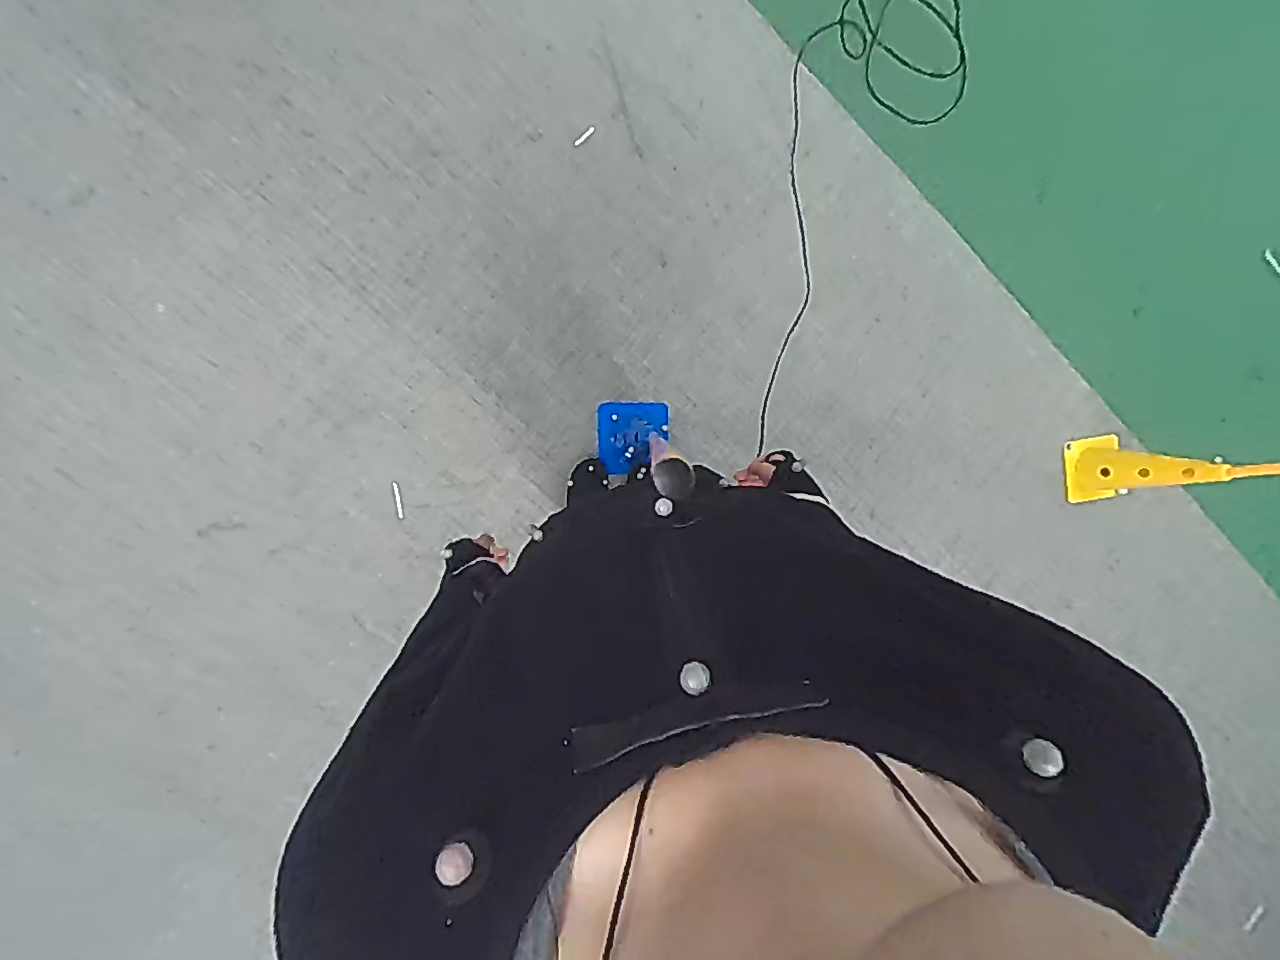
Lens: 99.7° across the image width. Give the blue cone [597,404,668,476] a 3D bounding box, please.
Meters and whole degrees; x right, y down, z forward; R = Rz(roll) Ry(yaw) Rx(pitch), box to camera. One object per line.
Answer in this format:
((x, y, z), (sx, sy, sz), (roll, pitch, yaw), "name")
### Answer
((0.002, -0.098, 1.315), (0.193, 0.380, 0.192), (-3, 94, -7), "blue cone")
